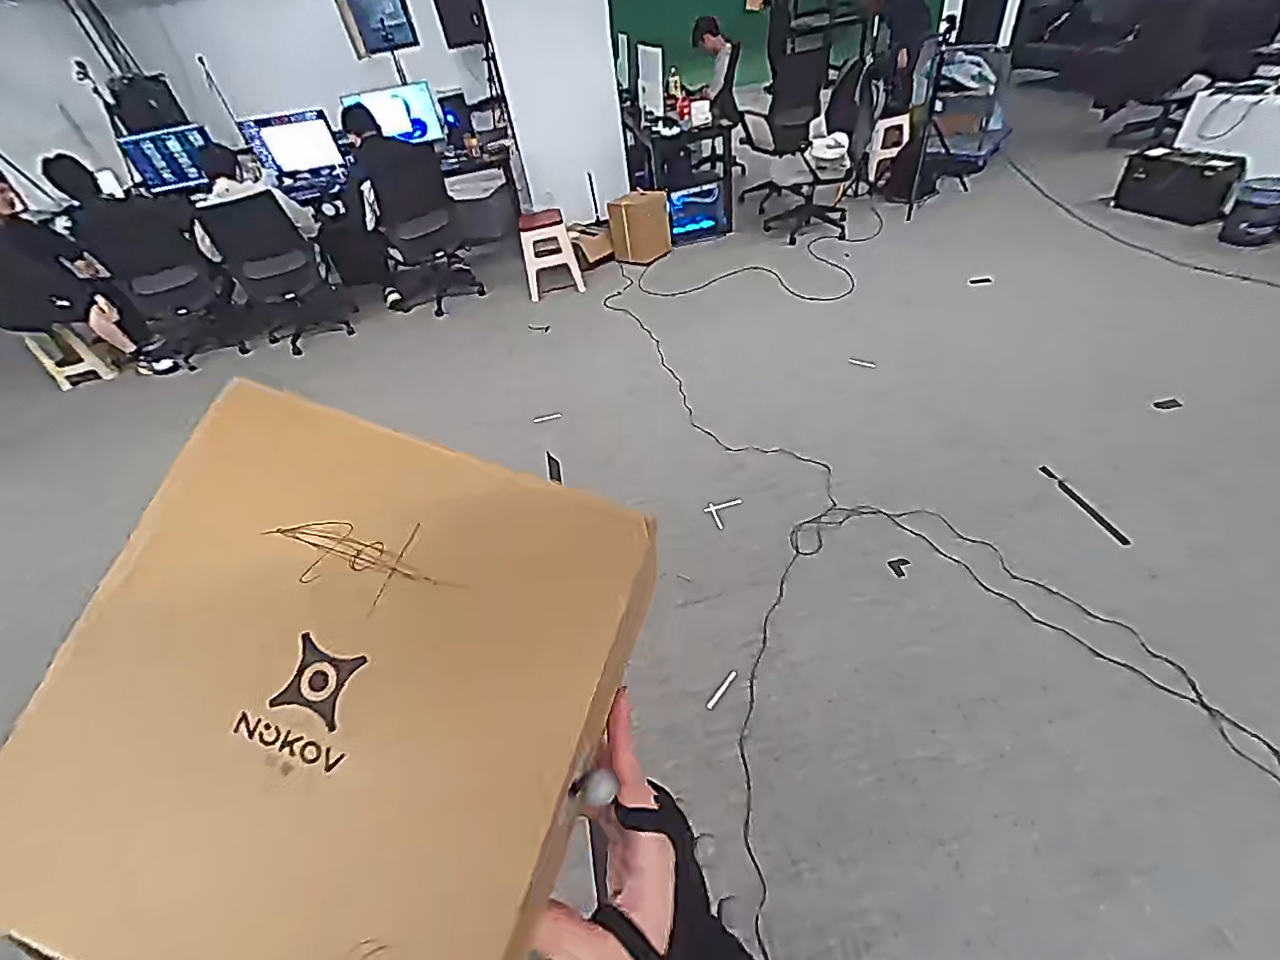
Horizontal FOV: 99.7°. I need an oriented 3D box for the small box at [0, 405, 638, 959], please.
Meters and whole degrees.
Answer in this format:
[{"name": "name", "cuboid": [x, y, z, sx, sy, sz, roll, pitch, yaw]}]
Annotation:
[{"name": "small box", "cuboid": [-0.099, 0.094, 0.258, 0.168, 0.176, 0.179, 15, 73, 5]}]
